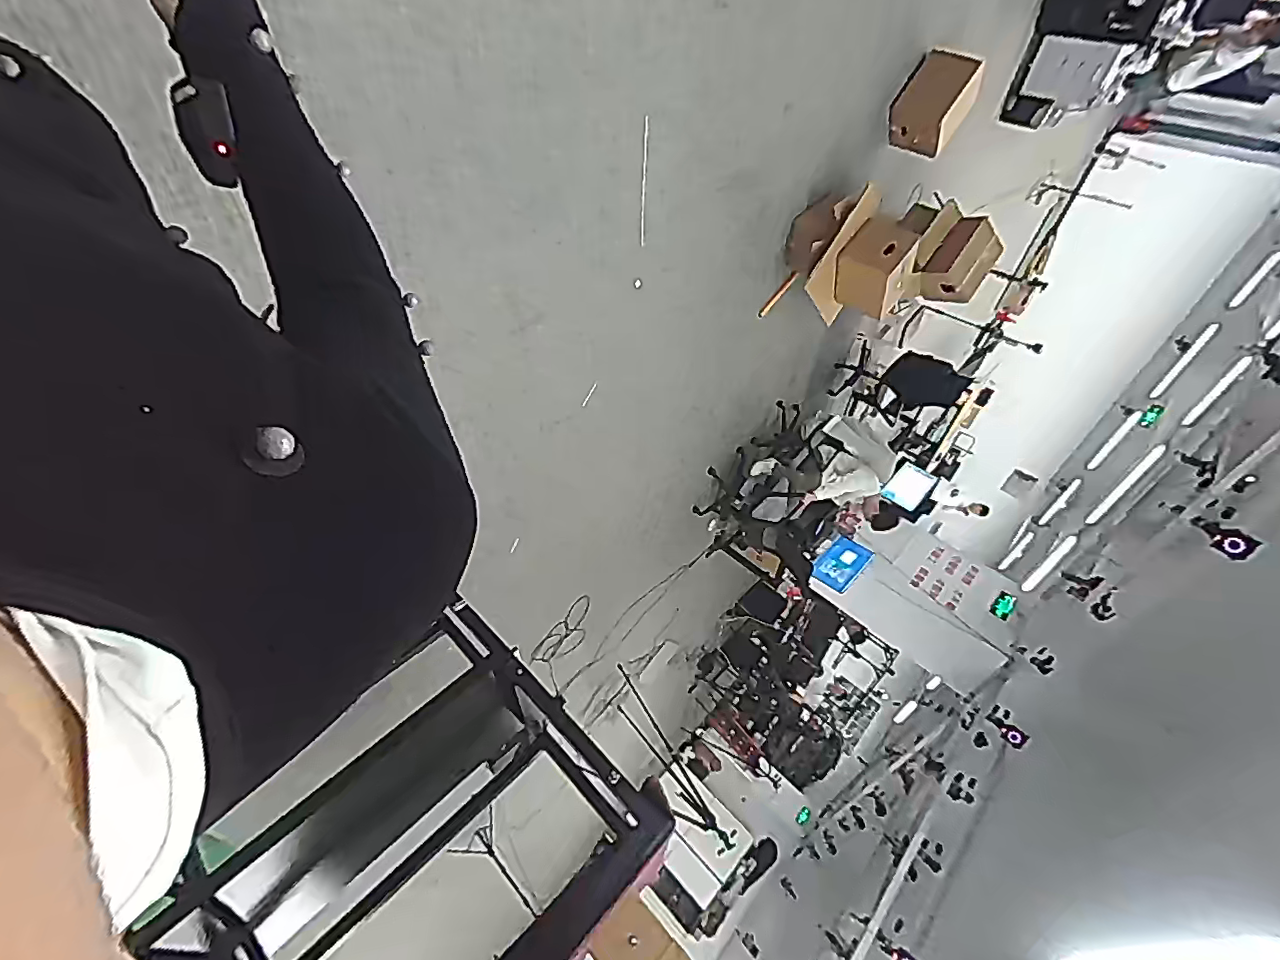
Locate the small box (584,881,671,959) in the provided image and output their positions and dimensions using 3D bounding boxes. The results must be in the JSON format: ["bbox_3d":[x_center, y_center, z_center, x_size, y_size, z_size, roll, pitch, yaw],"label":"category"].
[{"bbox_3d":[-0.041,1.256,1.480,0.179,0.176,0.168,-36,148,-32],"label":"small box"}]

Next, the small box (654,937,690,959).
[{"bbox_3d":[0.078,1.347,1.415,0.168,0.176,0.179,-35,148,-31],"label":"small box"}]
